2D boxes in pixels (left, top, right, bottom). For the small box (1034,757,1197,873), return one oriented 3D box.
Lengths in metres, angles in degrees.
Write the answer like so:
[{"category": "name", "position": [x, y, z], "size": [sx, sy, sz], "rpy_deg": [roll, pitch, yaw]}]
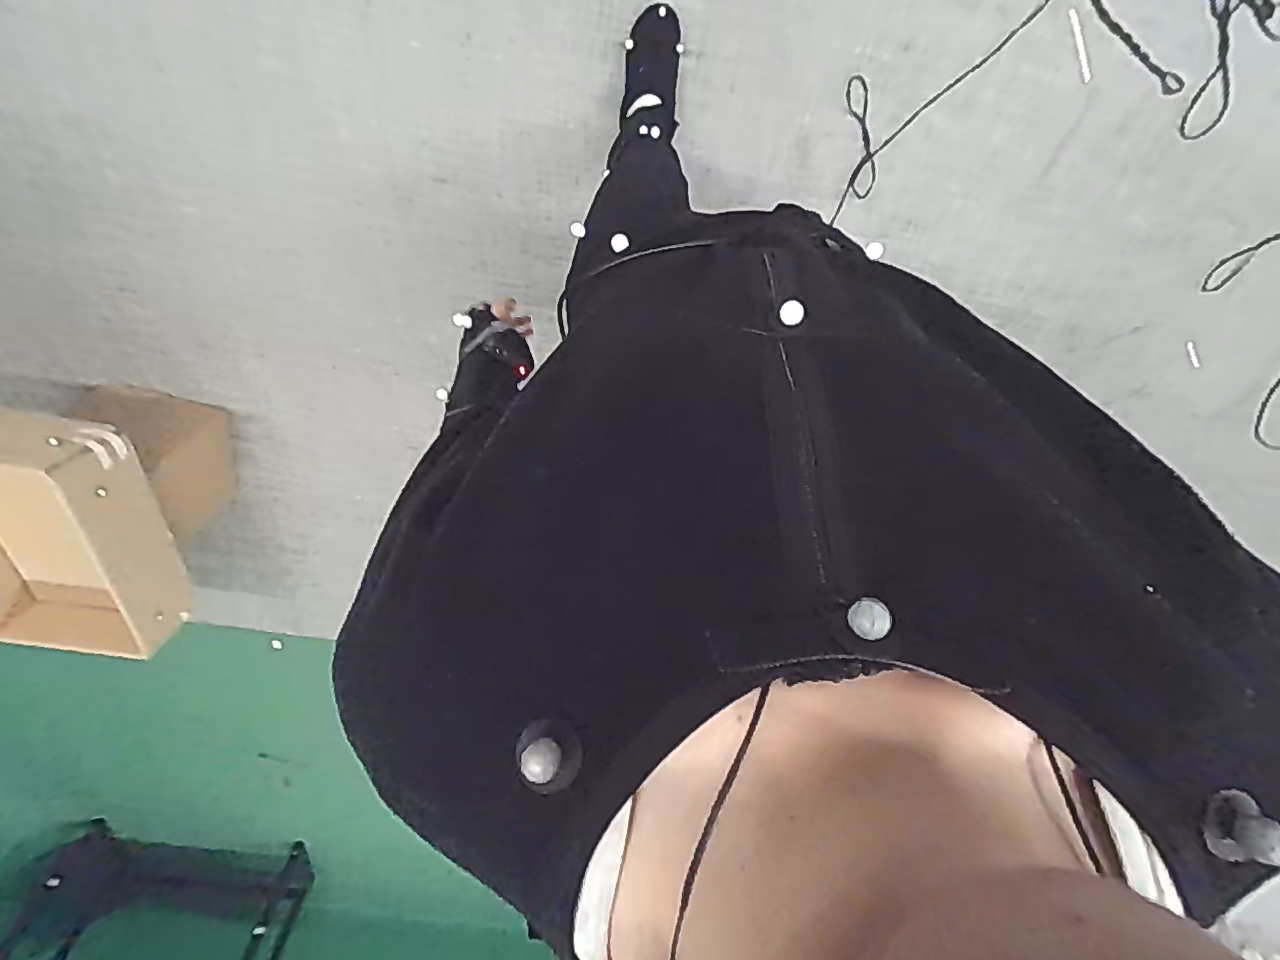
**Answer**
[{"category": "small box", "position": [1.043, 0.743, 1.206], "size": [0.179, 0.176, 0.168], "rpy_deg": [7, 124, -2]}]
